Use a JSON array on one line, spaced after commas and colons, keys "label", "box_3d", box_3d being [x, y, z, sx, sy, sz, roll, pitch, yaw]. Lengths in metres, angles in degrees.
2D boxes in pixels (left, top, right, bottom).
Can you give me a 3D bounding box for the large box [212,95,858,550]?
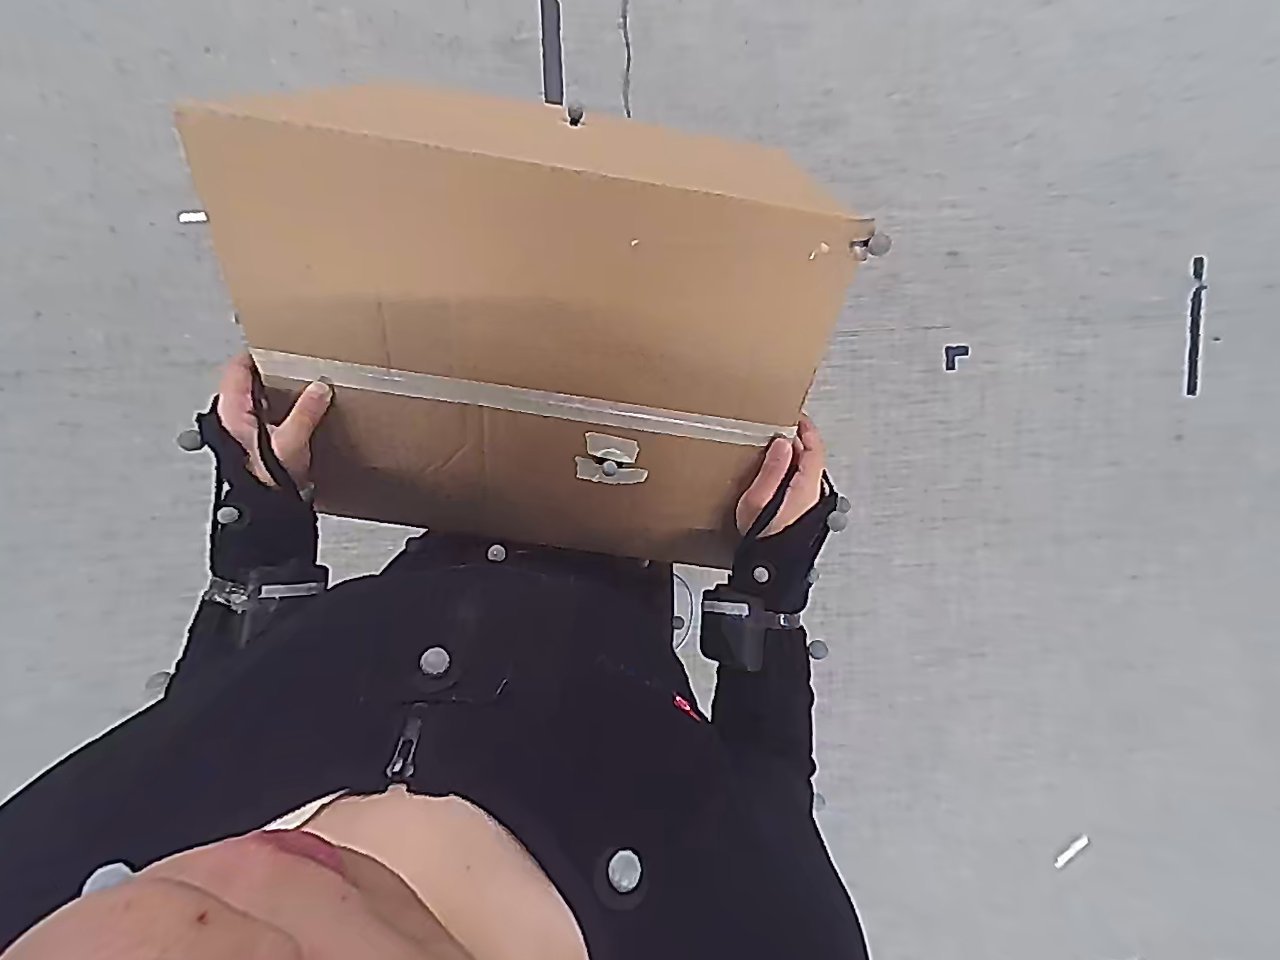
[{"label": "large box", "box_3d": [-0.074, -0.163, 0.536, 0.408, 0.320, 0.320, 7, 130, -4]}]
